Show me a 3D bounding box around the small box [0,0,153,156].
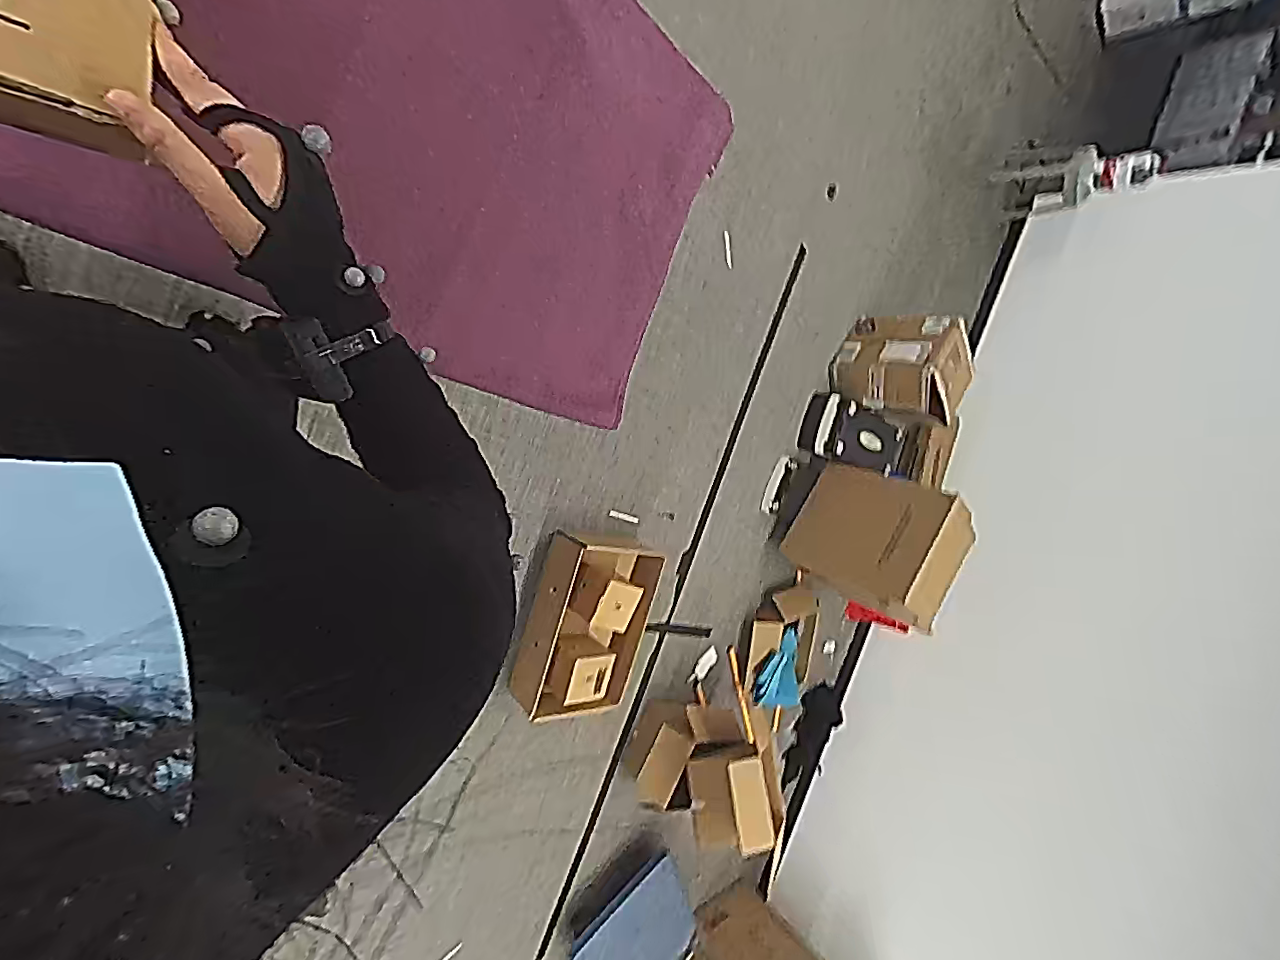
[{"bbox_3d":[-0.365,-0.298,0.281,0.168,0.176,0.179,1,106,-44],"label":"small box"}]

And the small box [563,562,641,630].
[{"bbox_3d":[-0.135,0.405,1.904,0.179,0.176,0.168,27,87,-43],"label":"small box"}]
